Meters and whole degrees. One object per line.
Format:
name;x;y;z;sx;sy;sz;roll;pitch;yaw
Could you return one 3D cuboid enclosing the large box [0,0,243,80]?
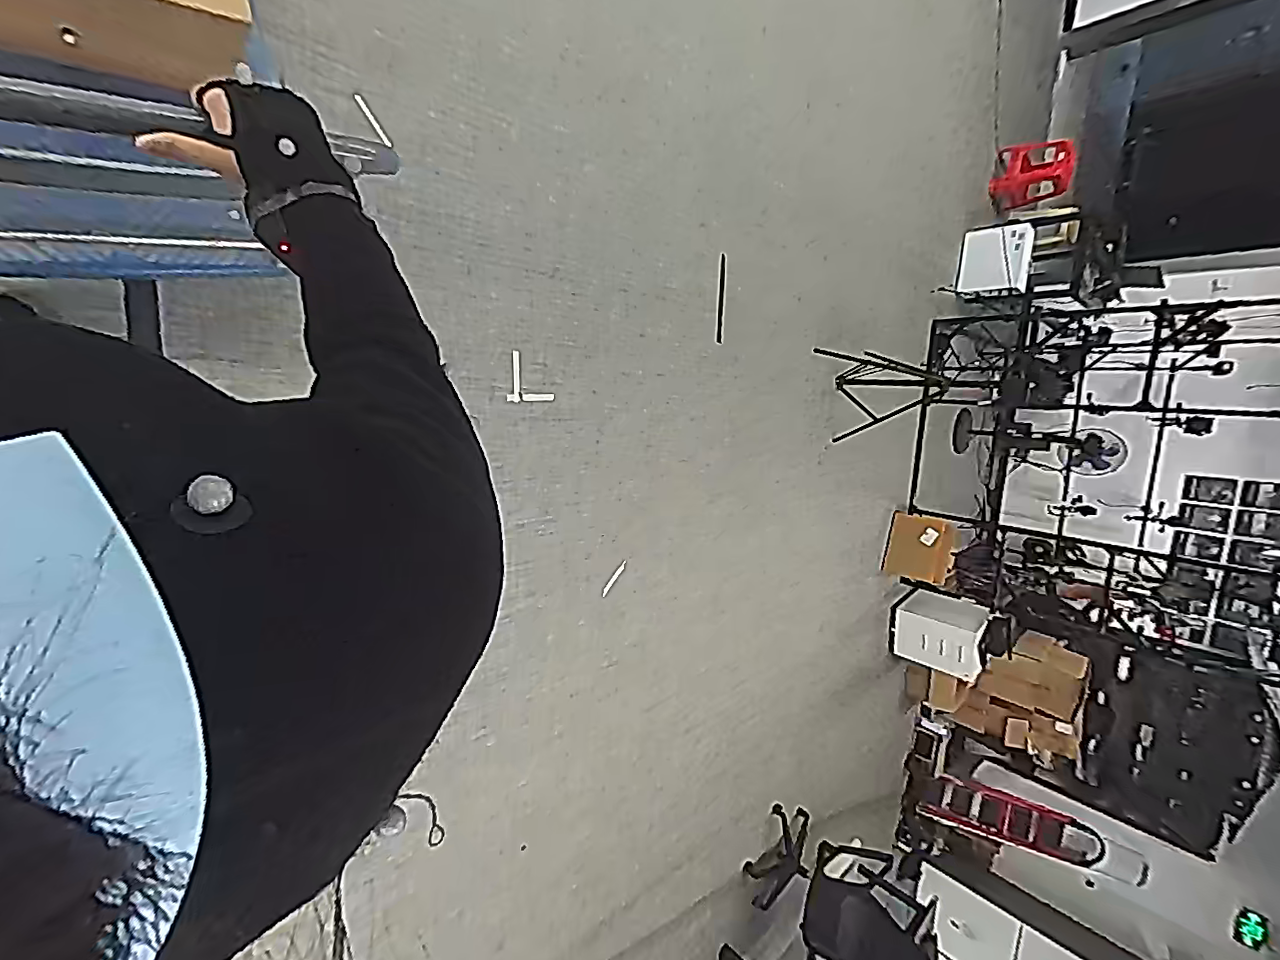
large box;-0.830;-0.807;0.727;0.408;0.320;0.320;-16;110;-40
